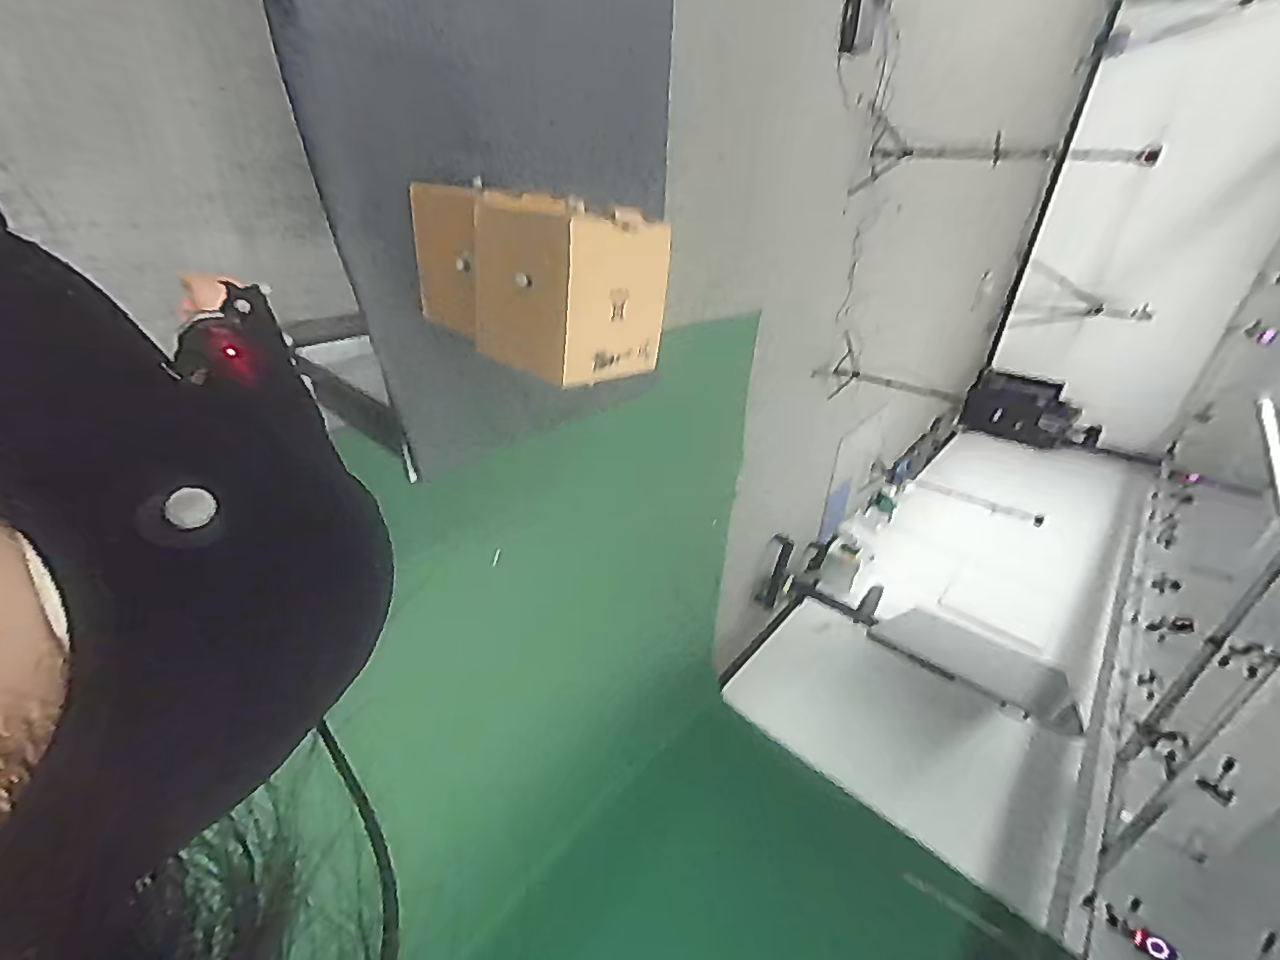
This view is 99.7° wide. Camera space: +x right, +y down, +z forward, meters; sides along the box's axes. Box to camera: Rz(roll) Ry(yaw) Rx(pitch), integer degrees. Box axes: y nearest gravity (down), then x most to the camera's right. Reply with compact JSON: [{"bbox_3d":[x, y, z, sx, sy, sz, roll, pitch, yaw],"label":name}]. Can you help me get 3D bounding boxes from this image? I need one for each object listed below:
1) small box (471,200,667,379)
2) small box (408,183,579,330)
[{"bbox_3d":[-0.090,-0.234,0.658,0.168,0.176,0.179,-22,127,-46],"label":"small box"},{"bbox_3d":[-0.202,-0.308,0.754,0.168,0.176,0.179,-25,130,-44],"label":"small box"}]
